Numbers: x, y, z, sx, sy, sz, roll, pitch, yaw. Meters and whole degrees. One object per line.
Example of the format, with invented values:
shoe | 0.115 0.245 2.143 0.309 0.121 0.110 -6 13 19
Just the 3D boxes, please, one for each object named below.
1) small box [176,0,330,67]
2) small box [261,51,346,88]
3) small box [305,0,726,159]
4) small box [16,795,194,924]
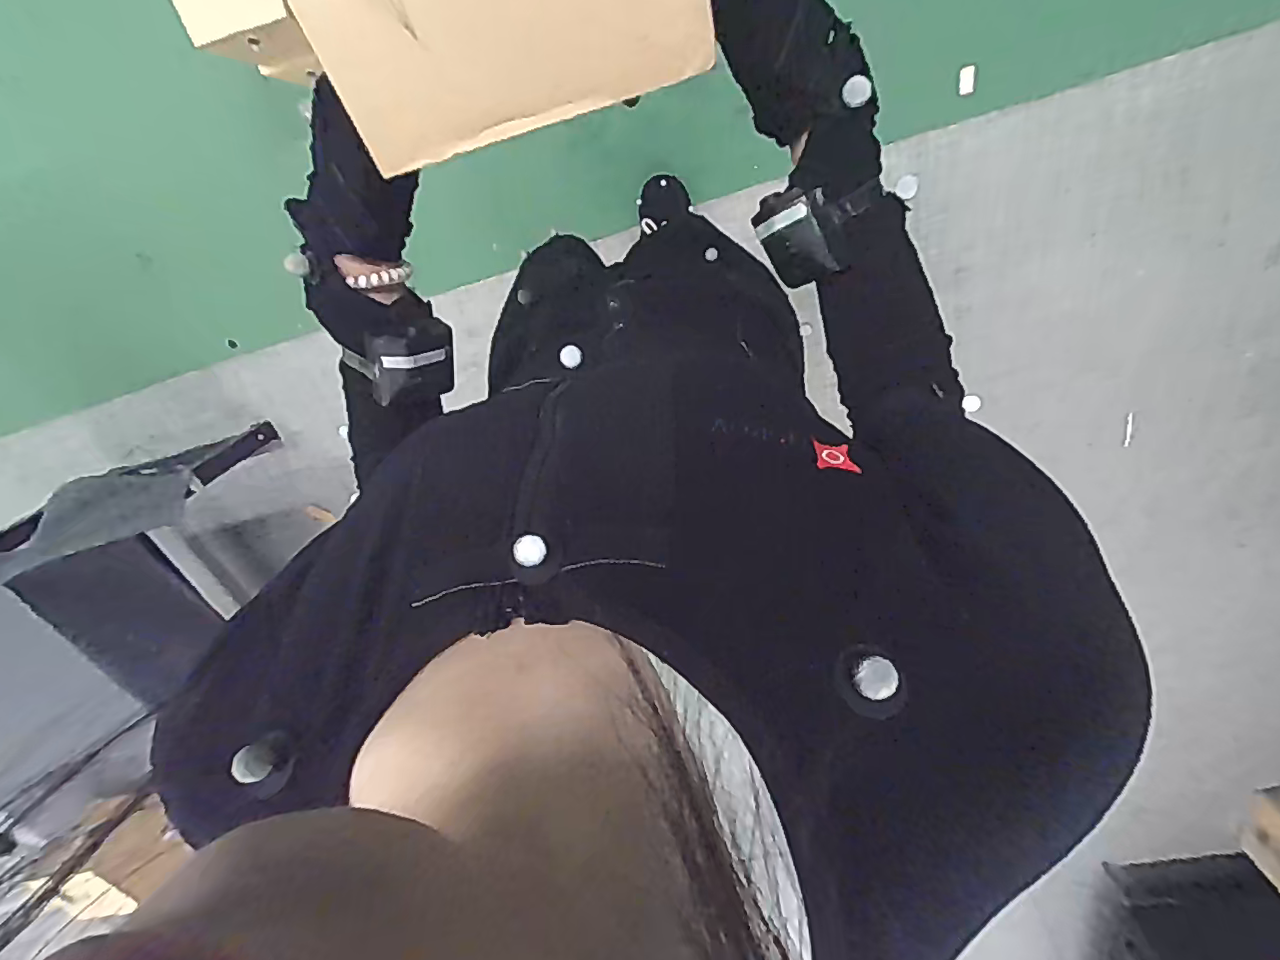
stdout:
small box | -0.644 -0.819 0.900 0.179 0.176 0.168 -9 117 8
small box | -0.645 -0.888 1.051 0.168 0.176 0.179 -9 117 7
small box | -0.068 -0.289 0.263 0.179 0.176 0.168 -13 133 8
small box | -1.136 0.814 1.166 0.179 0.176 0.168 -13 118 9
